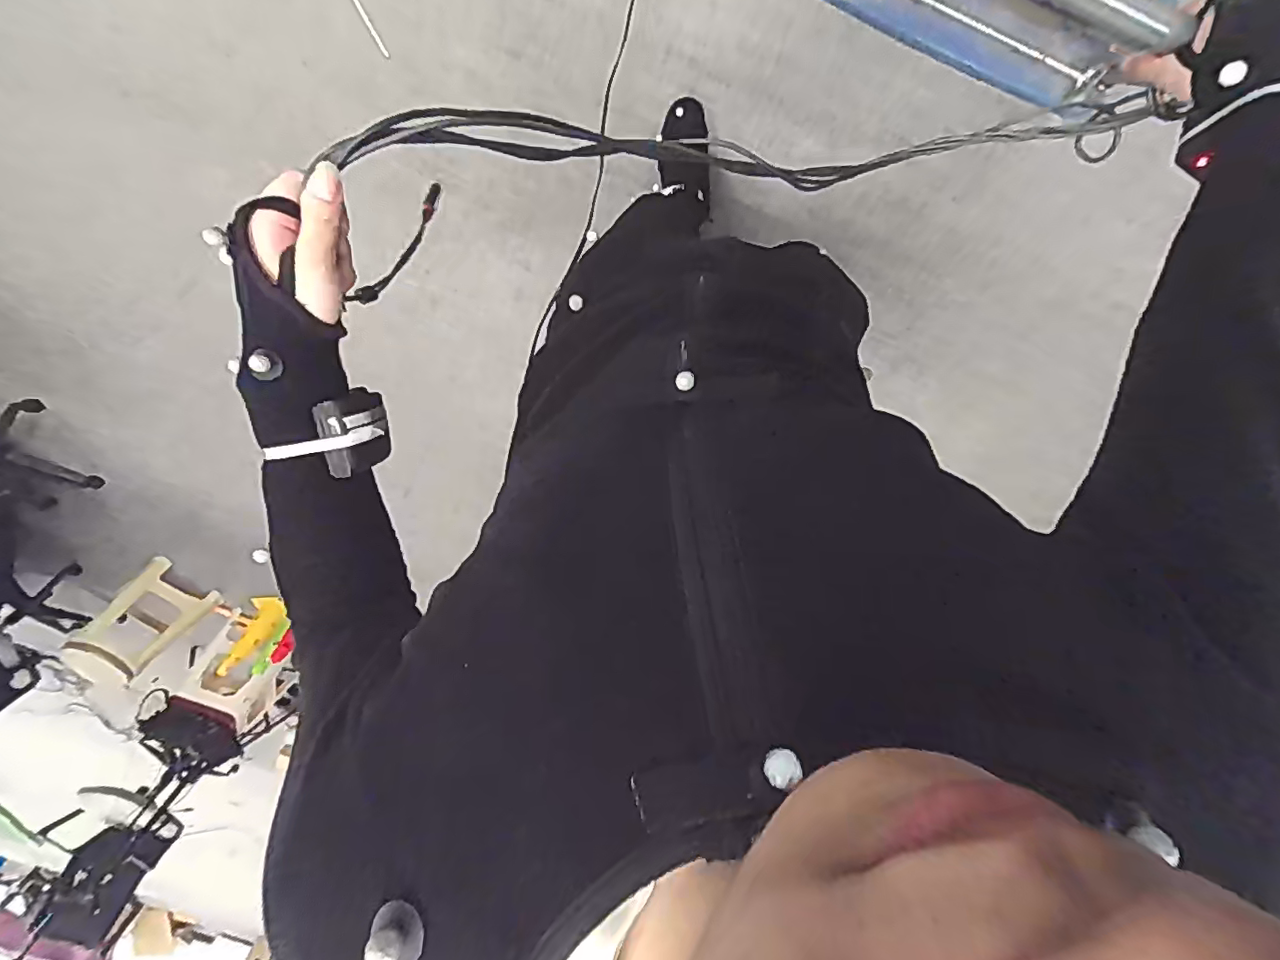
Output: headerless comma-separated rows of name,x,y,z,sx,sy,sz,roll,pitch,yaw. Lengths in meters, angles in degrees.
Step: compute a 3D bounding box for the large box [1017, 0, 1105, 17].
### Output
large box,0.621,-0.924,0.699,0.320,0.320,0.408,22,125,-5
